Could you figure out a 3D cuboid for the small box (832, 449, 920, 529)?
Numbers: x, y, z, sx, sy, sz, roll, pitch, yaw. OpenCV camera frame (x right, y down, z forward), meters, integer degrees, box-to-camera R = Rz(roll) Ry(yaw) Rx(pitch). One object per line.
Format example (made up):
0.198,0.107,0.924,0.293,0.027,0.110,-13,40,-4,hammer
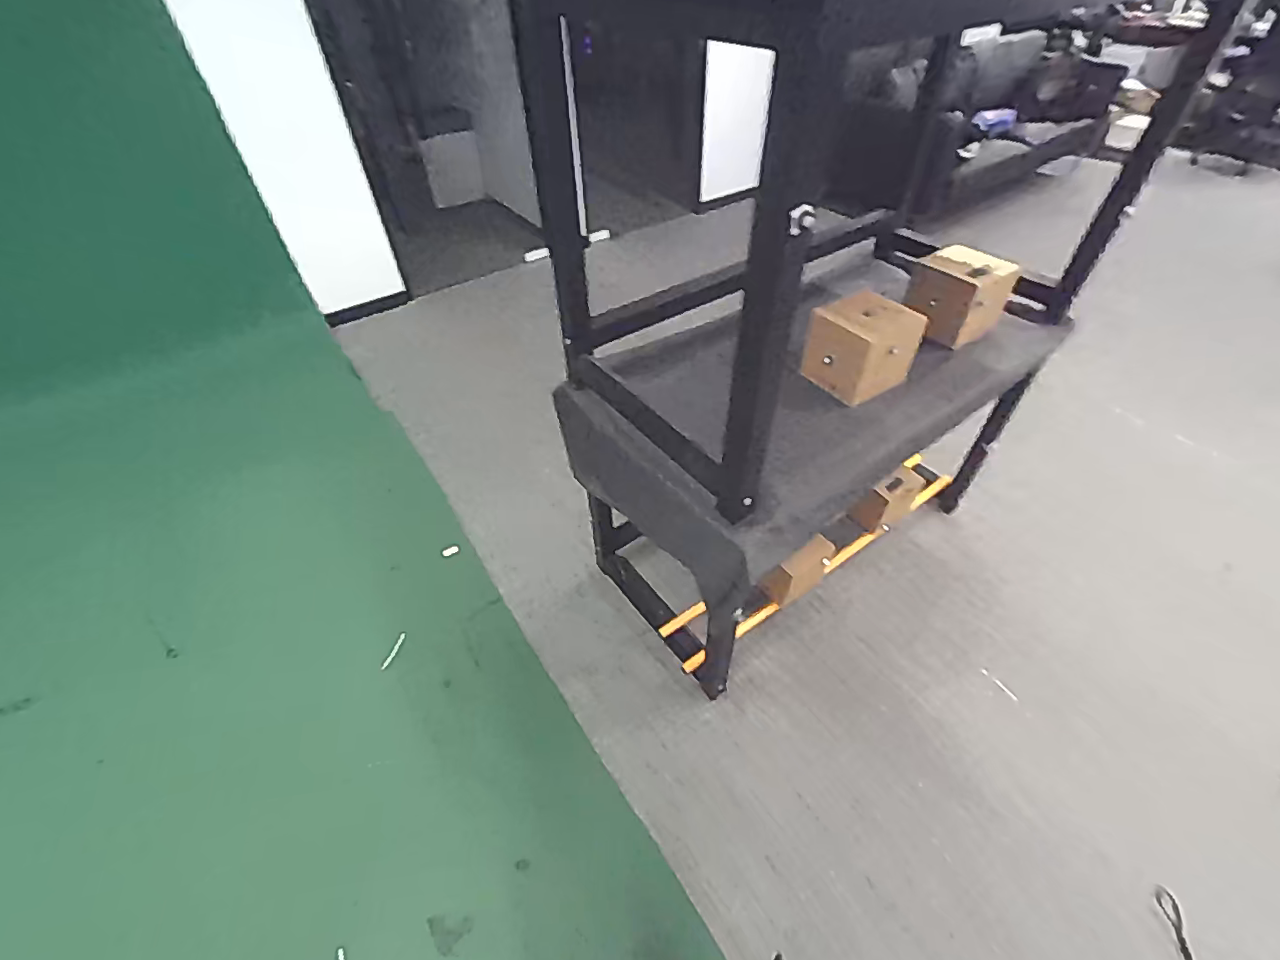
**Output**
0.758,0.036,1.751,0.168,0.176,0.179,-25,51,-22,small box

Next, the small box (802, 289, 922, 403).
0.486,-0.300,1.217,0.179,0.176,0.168,-26,51,-21,small box
